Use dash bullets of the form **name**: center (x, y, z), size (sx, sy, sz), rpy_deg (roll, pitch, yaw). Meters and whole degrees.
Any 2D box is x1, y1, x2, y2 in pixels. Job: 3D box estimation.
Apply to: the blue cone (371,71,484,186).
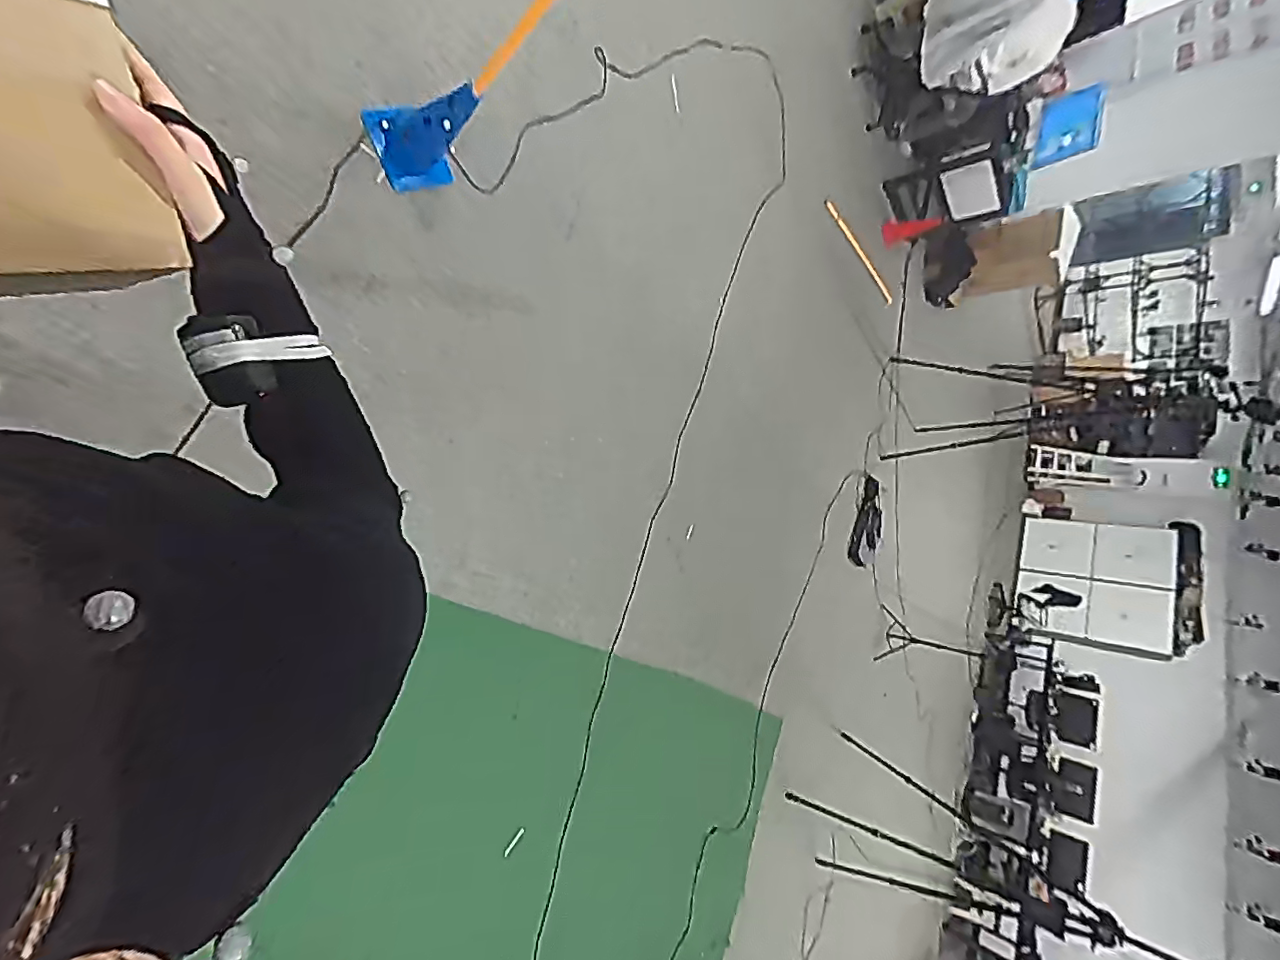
- **blue cone**: center (-0.498, -0.910, 1.366), size (0.193, 0.380, 0.192), rpy_deg (-40, 119, -36)
